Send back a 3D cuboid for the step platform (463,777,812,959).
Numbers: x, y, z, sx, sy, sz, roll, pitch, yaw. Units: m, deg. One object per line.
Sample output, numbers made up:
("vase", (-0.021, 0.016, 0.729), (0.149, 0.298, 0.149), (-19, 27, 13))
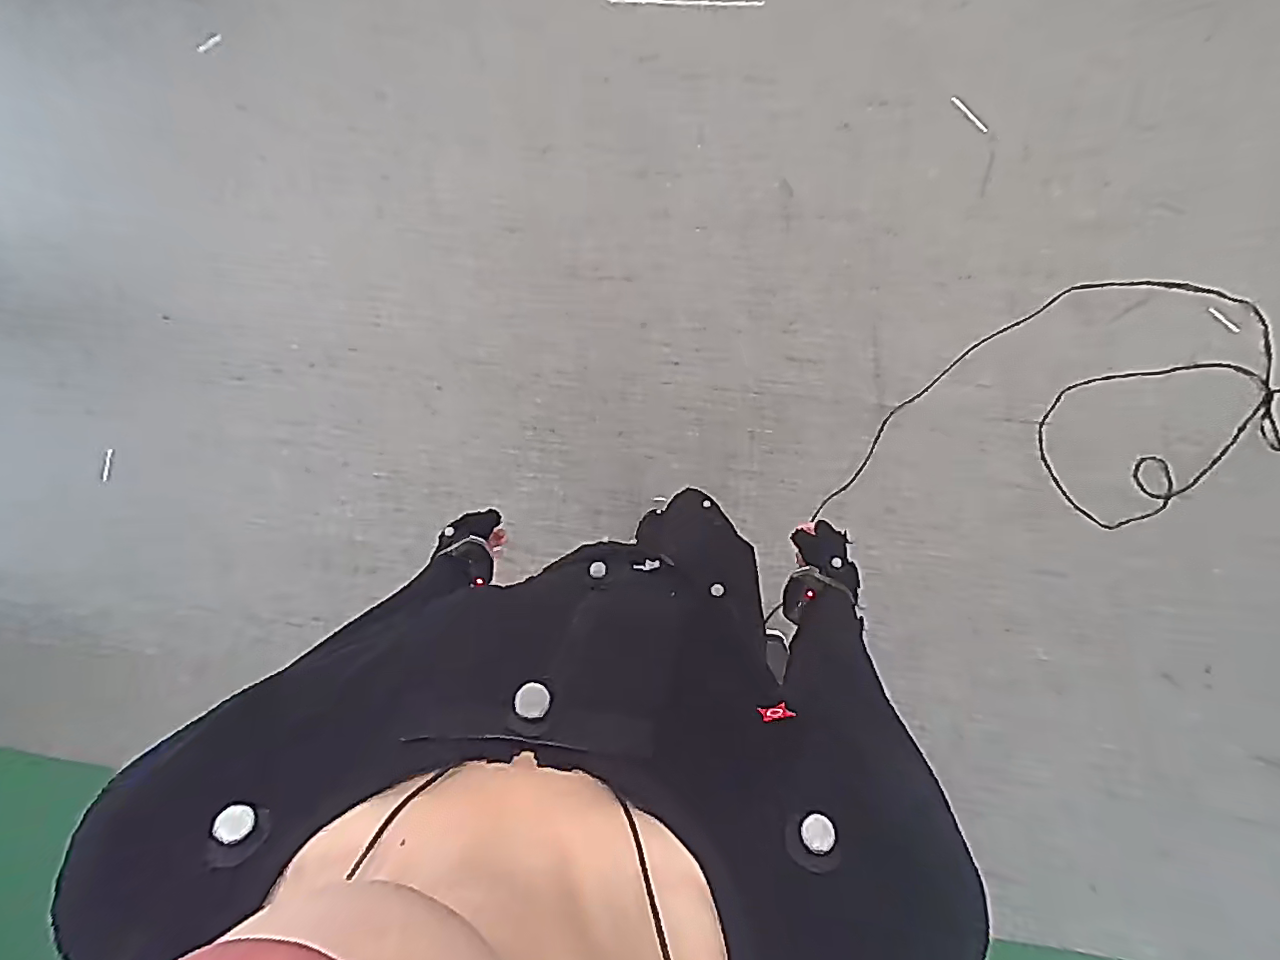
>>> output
("step platform", (-0.006, 0.852, 1.147), (0.684, 0.204, 0.286), (7, 85, 4))
